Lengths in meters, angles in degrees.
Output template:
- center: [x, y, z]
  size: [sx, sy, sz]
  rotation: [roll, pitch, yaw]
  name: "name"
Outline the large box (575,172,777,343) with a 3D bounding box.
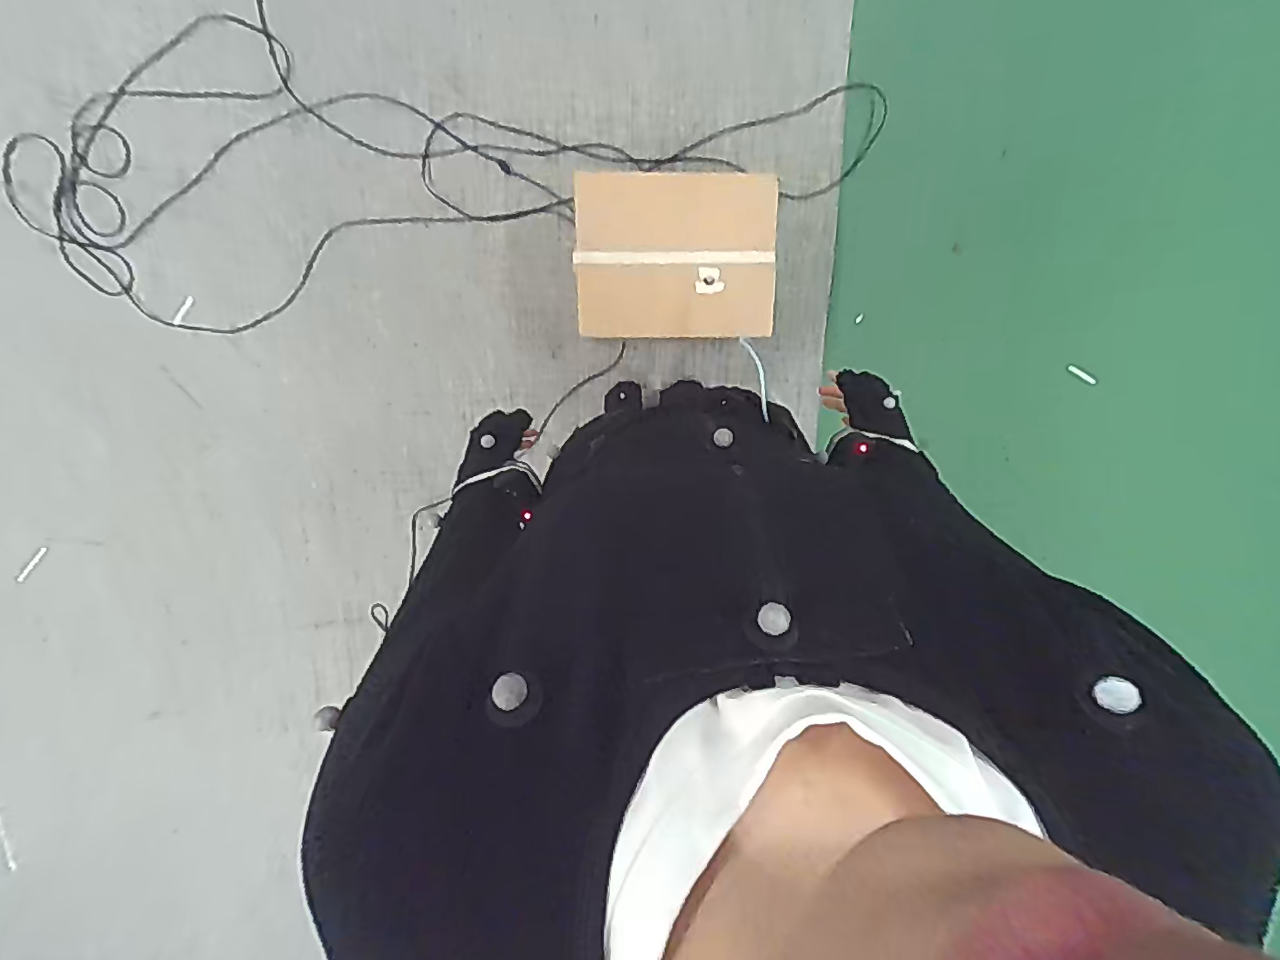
- center: [0.066, -0.482, 1.232]
  size: [0.408, 0.320, 0.320]
  rotation: [-1, 103, -2]
  name: "large box"
